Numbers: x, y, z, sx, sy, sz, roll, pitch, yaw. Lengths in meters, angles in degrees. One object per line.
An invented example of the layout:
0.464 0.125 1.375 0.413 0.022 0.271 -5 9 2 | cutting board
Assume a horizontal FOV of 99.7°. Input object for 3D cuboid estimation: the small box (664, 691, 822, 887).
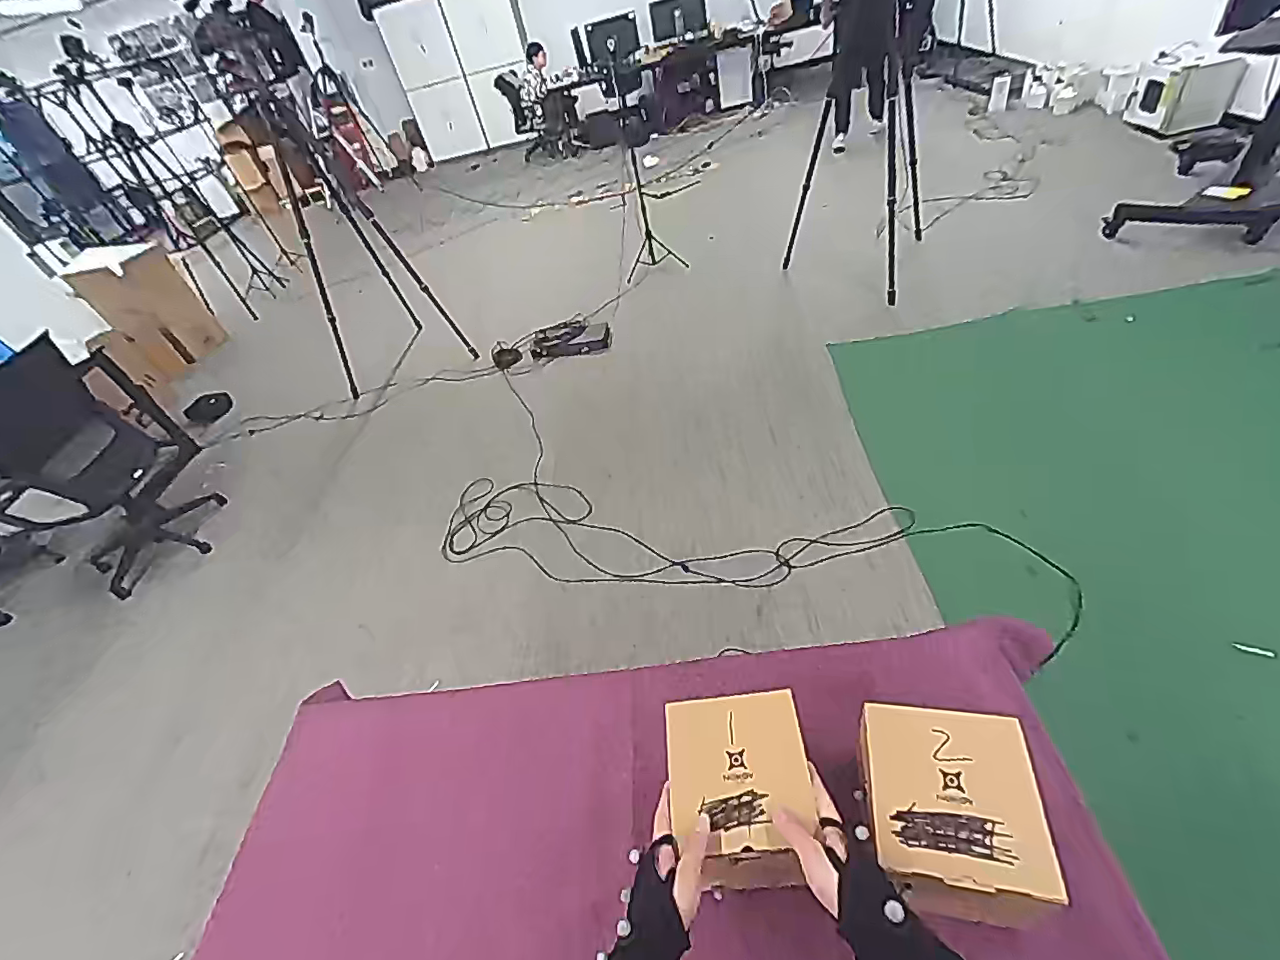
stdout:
0.129 0.396 0.685 0.168 0.176 0.179 -10 42 9 | small box
